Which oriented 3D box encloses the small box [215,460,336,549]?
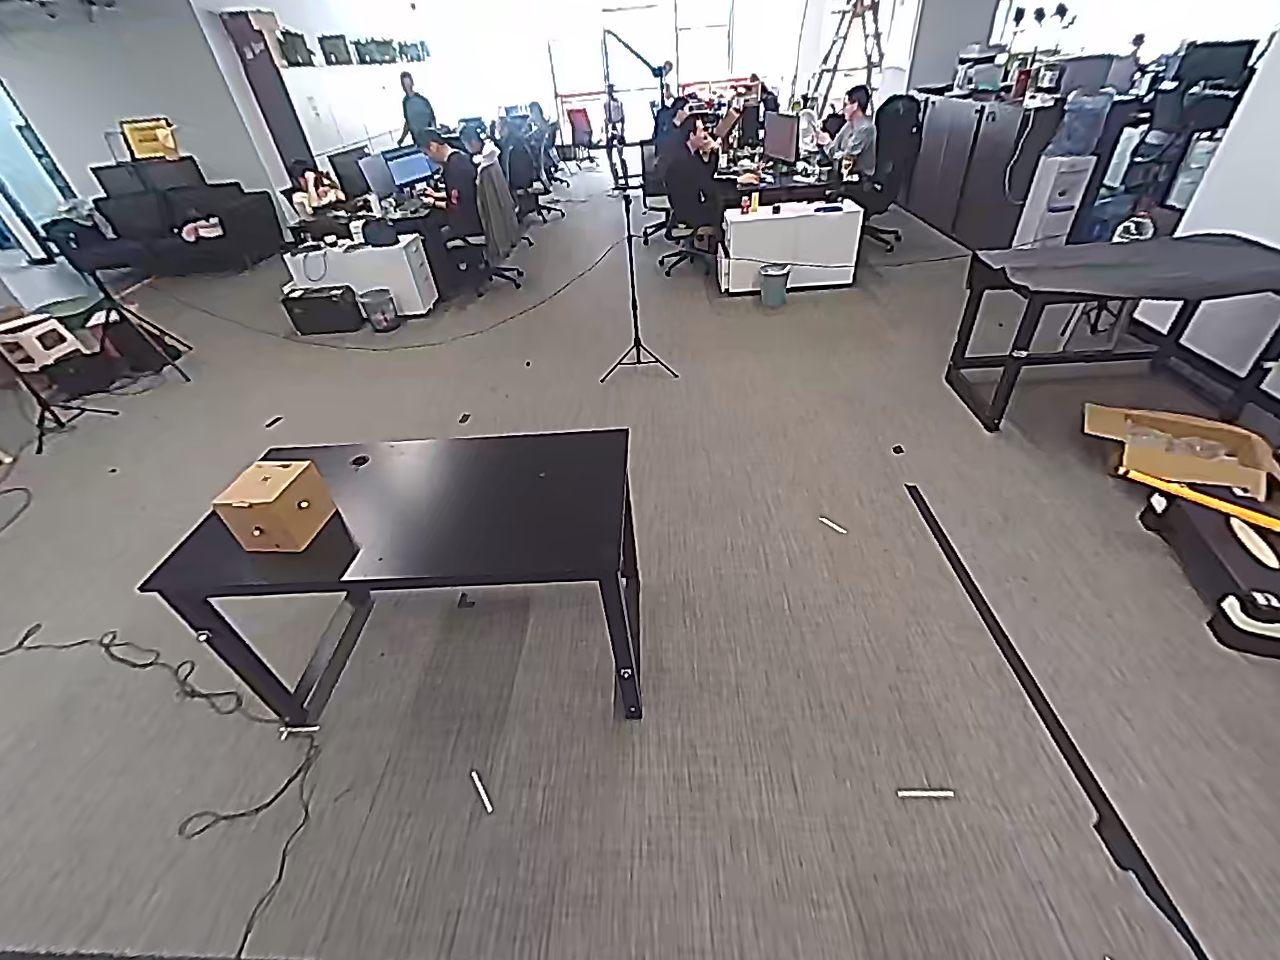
[{"bbox_3d":[-0.942,0.065,1.420,0.168,0.176,0.179,0,39,7],"label":"small box"}]
